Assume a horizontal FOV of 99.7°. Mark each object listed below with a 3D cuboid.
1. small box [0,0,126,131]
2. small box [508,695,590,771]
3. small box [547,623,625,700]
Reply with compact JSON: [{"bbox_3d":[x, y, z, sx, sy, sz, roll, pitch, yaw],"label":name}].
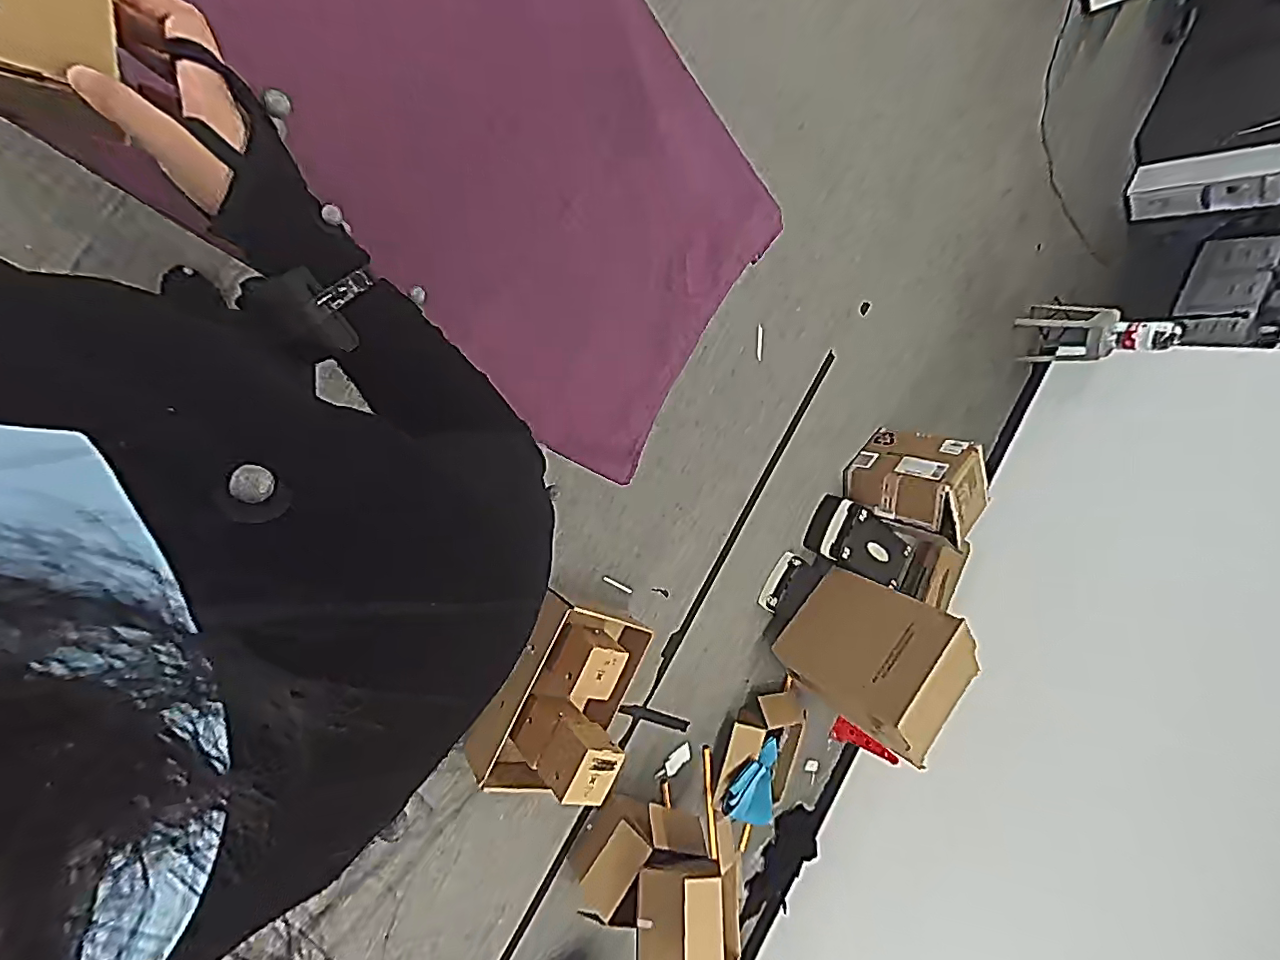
[{"bbox_3d":[-0.397,-0.320,0.291,0.168,0.176,0.179,-5,109,-42],"label":"small box"},{"bbox_3d":[-0.305,0.839,1.803,0.179,0.176,0.168,30,84,-39],"label":"small box"},{"bbox_3d":[-0.188,0.608,1.817,0.168,0.176,0.179,27,88,-40],"label":"small box"}]
